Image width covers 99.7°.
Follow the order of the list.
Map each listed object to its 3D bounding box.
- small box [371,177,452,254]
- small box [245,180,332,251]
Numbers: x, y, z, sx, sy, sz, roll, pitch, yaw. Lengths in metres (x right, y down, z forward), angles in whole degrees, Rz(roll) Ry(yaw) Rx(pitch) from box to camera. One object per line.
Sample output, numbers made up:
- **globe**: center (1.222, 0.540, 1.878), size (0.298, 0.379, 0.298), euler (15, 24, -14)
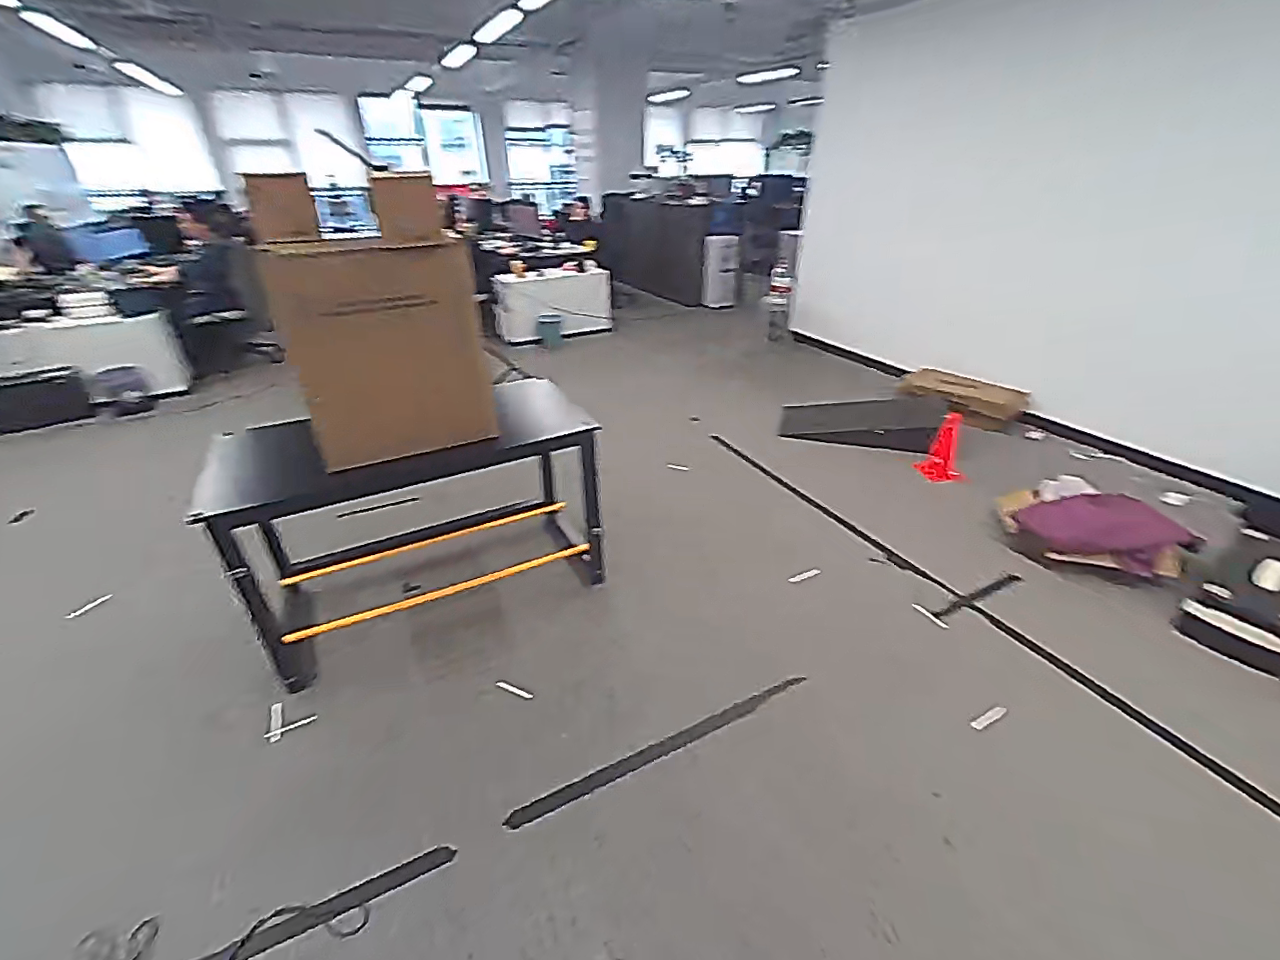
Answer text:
- **small box**: center (-0.623, -0.726, 1.481), size (0.168, 0.176, 0.179), euler (-14, 37, -17)
- **small box**: center (-0.987, -0.746, 1.526), size (0.168, 0.176, 0.179), euler (-18, 34, -26)
